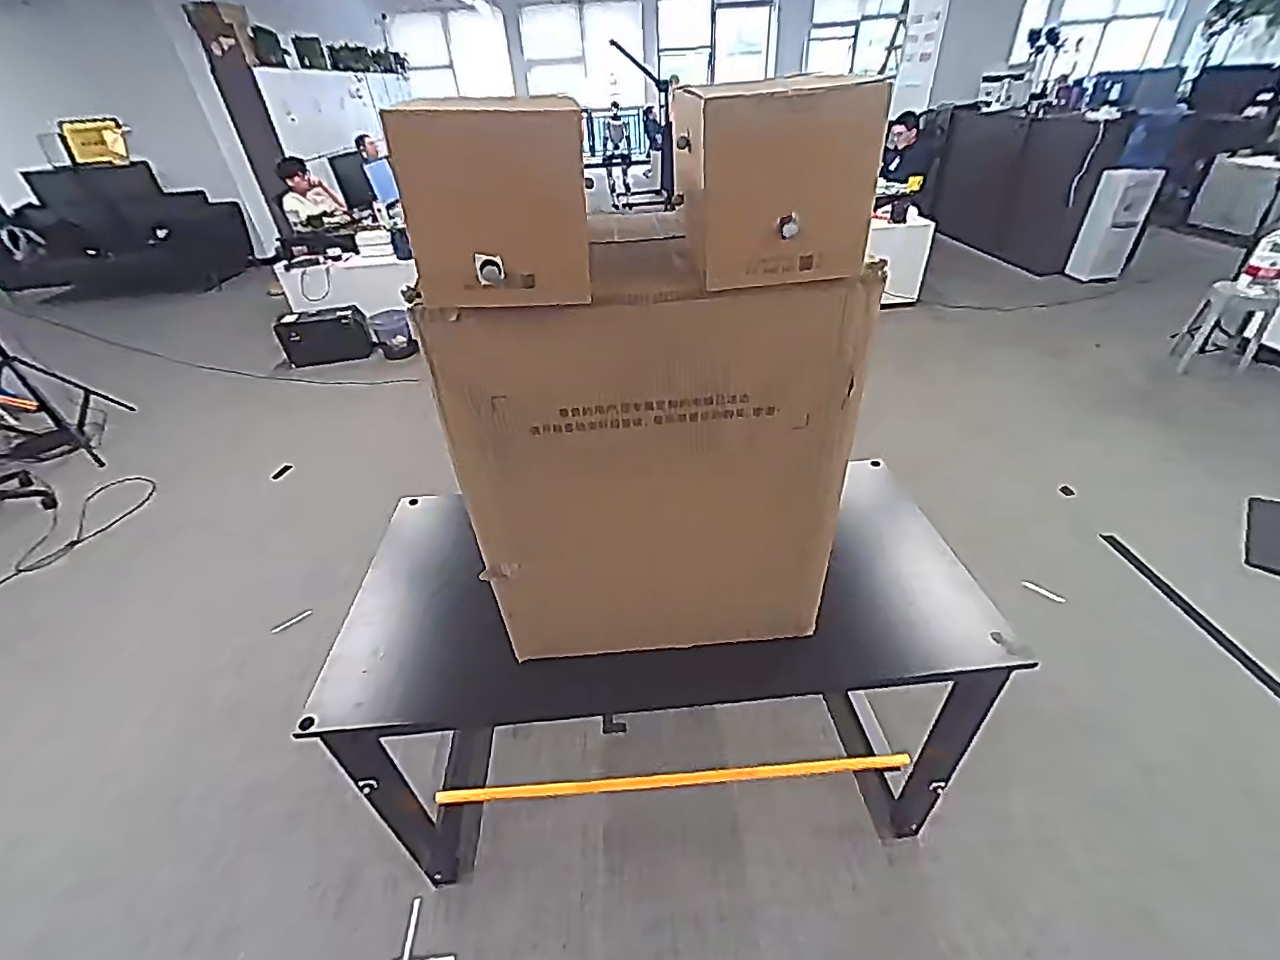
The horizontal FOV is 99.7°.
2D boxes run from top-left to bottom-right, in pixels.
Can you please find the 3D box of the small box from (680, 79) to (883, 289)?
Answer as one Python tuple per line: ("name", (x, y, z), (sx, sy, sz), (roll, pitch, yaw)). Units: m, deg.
("small box", (0.134, -0.320, 0.585), (0.168, 0.176, 0.179), (-6, 38, 1))
